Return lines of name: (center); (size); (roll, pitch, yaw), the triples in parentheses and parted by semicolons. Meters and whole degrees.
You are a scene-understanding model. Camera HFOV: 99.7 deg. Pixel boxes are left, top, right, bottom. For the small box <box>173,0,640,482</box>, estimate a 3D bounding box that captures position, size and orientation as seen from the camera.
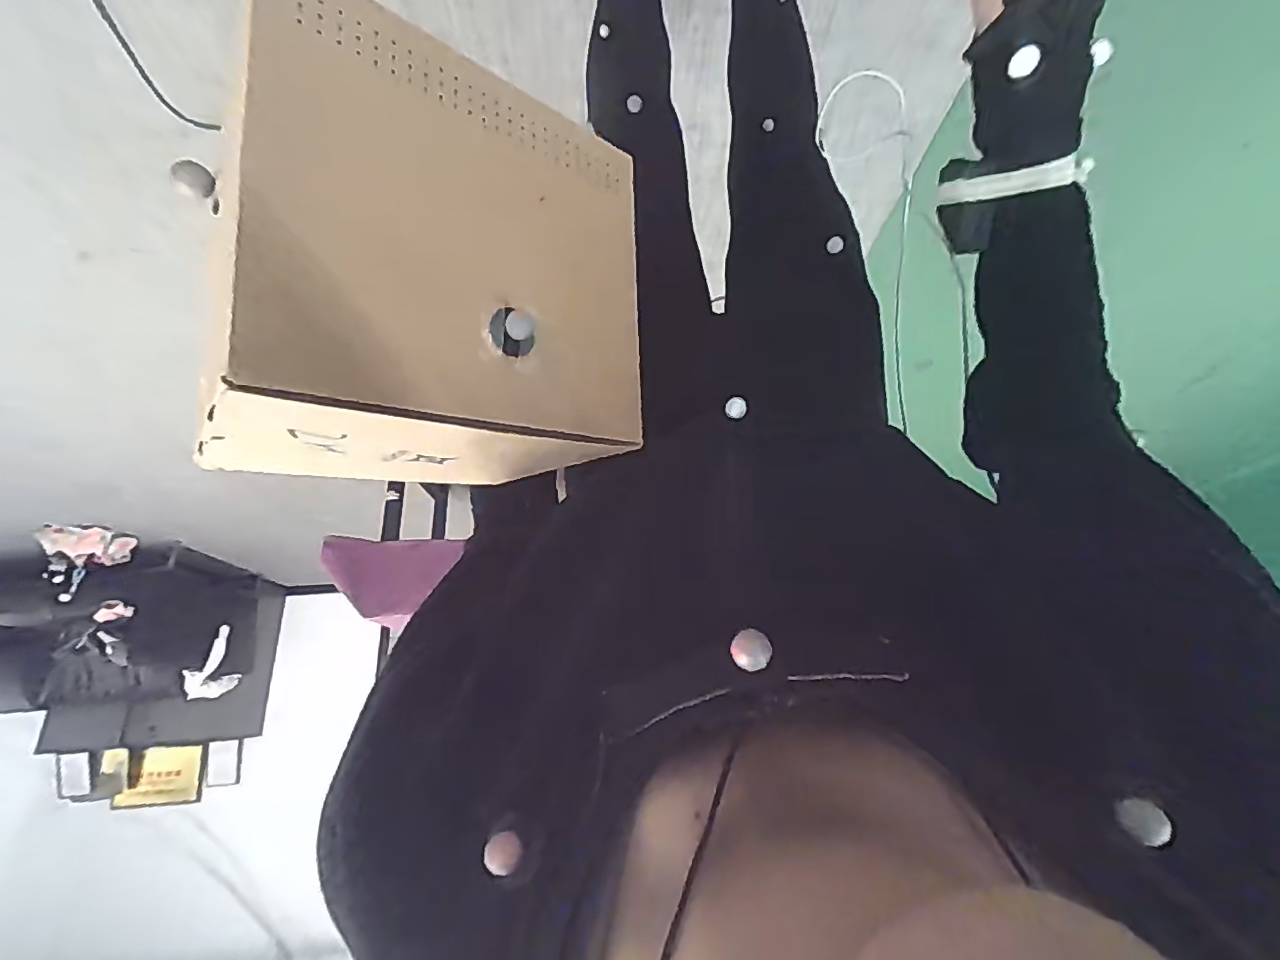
small box: (-0.118, -0.096, 0.282); (0.179, 0.176, 0.168); (6, 167, -43)
